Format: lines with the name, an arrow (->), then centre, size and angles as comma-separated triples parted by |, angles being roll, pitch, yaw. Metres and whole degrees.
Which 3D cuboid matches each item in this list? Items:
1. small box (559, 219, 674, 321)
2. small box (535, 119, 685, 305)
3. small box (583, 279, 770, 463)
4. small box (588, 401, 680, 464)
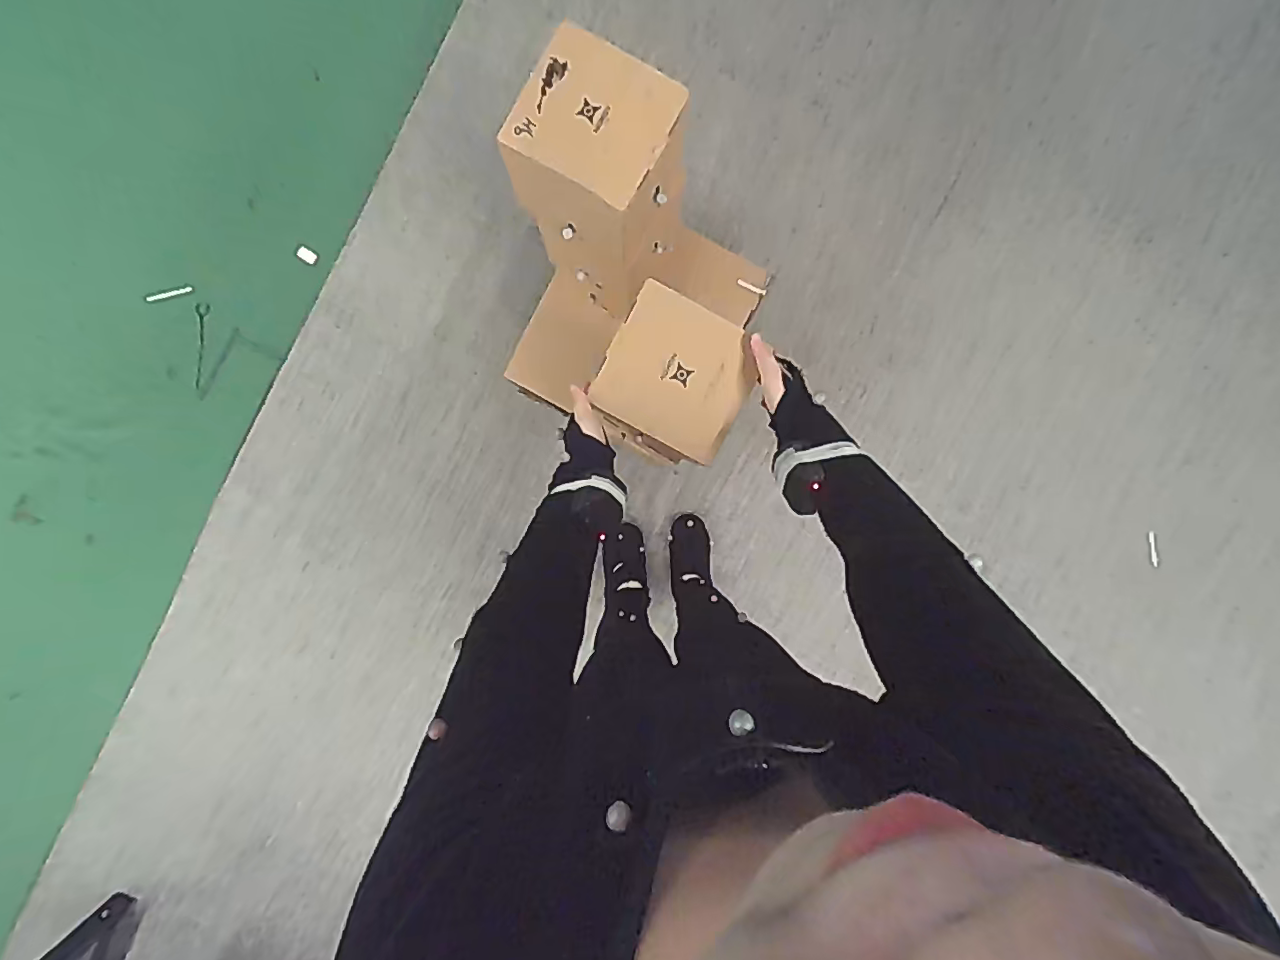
small box -> -0.053, -0.438, 1.043 | 0.168, 0.176, 0.179 | 28, 89, -1
small box -> -0.049, -0.420, 0.879 | 0.168, 0.176, 0.179 | 30, 89, -1
small box -> 0.040, -0.134, 0.727 | 0.179, 0.176, 0.168 | 28, 93, -4
small box -> 0.028, -0.144, 0.889 | 0.168, 0.176, 0.179 | 32, 92, -4
